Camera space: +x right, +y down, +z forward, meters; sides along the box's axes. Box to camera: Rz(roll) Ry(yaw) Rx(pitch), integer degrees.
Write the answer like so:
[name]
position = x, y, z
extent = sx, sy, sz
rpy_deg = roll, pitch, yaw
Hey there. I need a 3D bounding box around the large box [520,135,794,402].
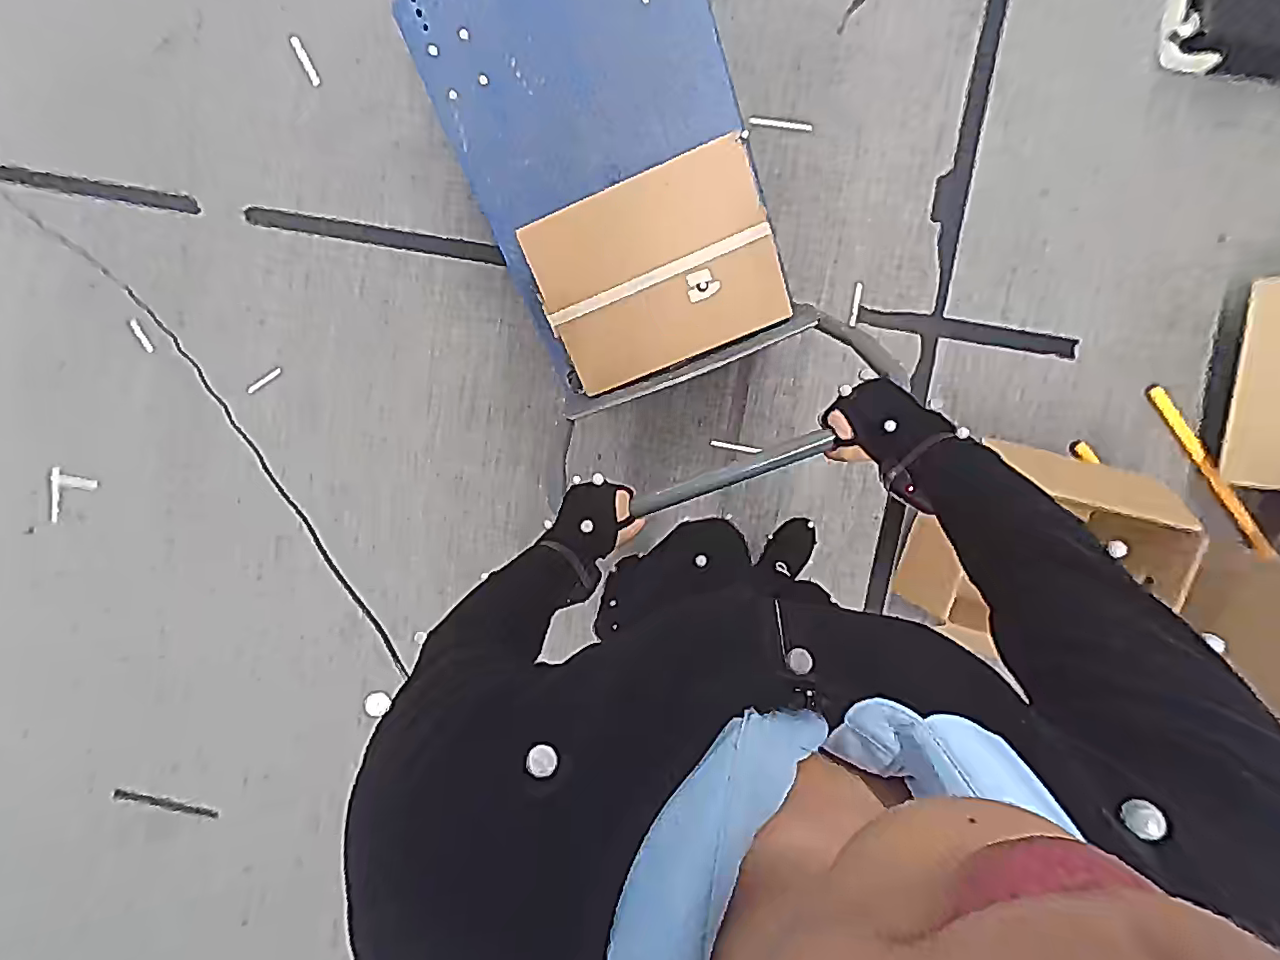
[large box]
position = 0.032, -0.397, 1.073
extent = 0.408, 0.320, 0.320
rpy_deg = -21, 110, 7
